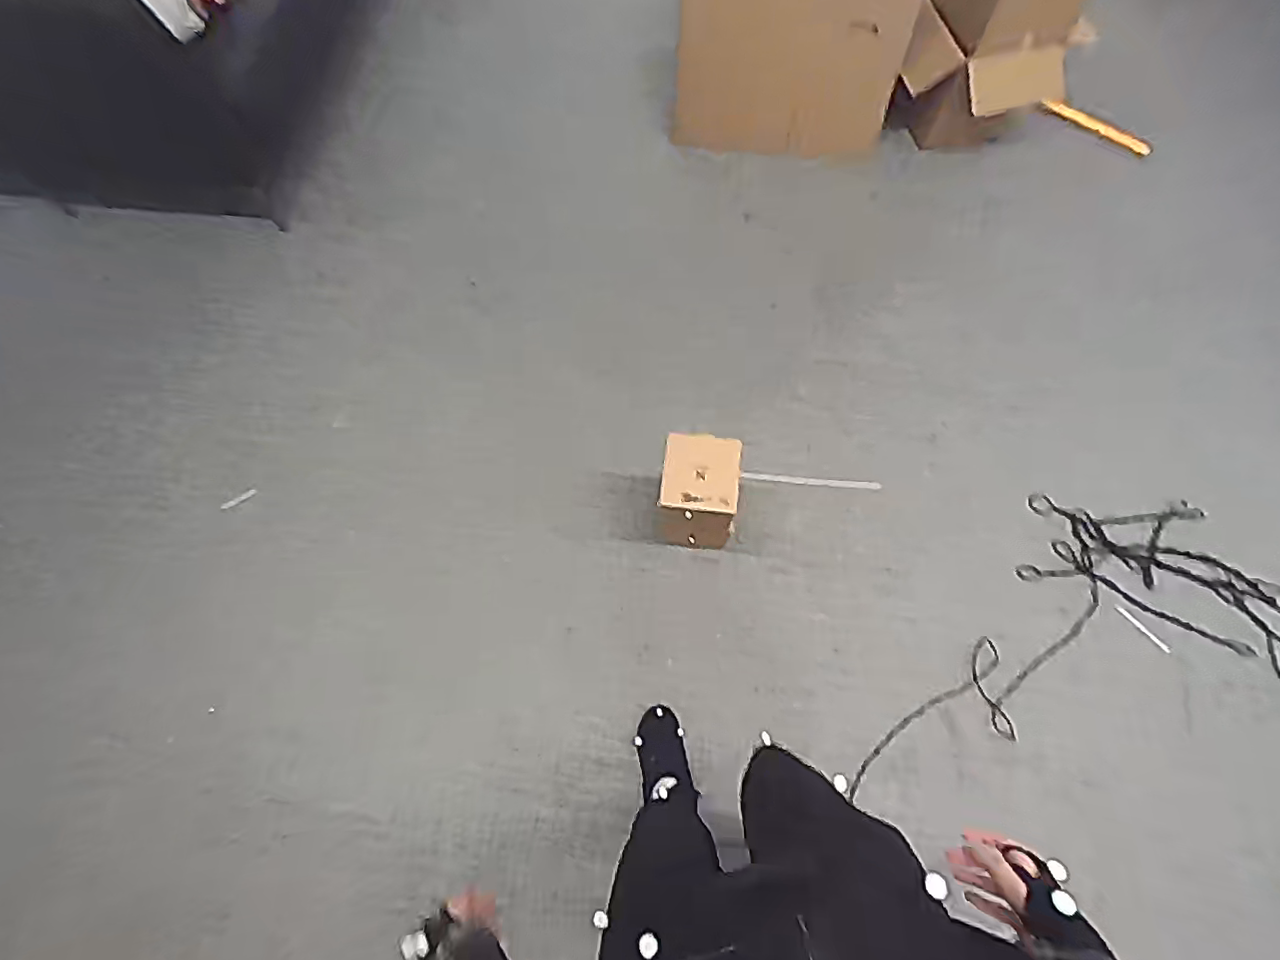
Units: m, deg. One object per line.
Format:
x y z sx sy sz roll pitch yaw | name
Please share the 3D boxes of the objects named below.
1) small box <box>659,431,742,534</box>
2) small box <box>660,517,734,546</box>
0.135 0.009 1.243 0.168 0.176 0.179 6 68 5 | small box
0.148 0.068 1.396 0.179 0.176 0.168 5 69 5 | small box
